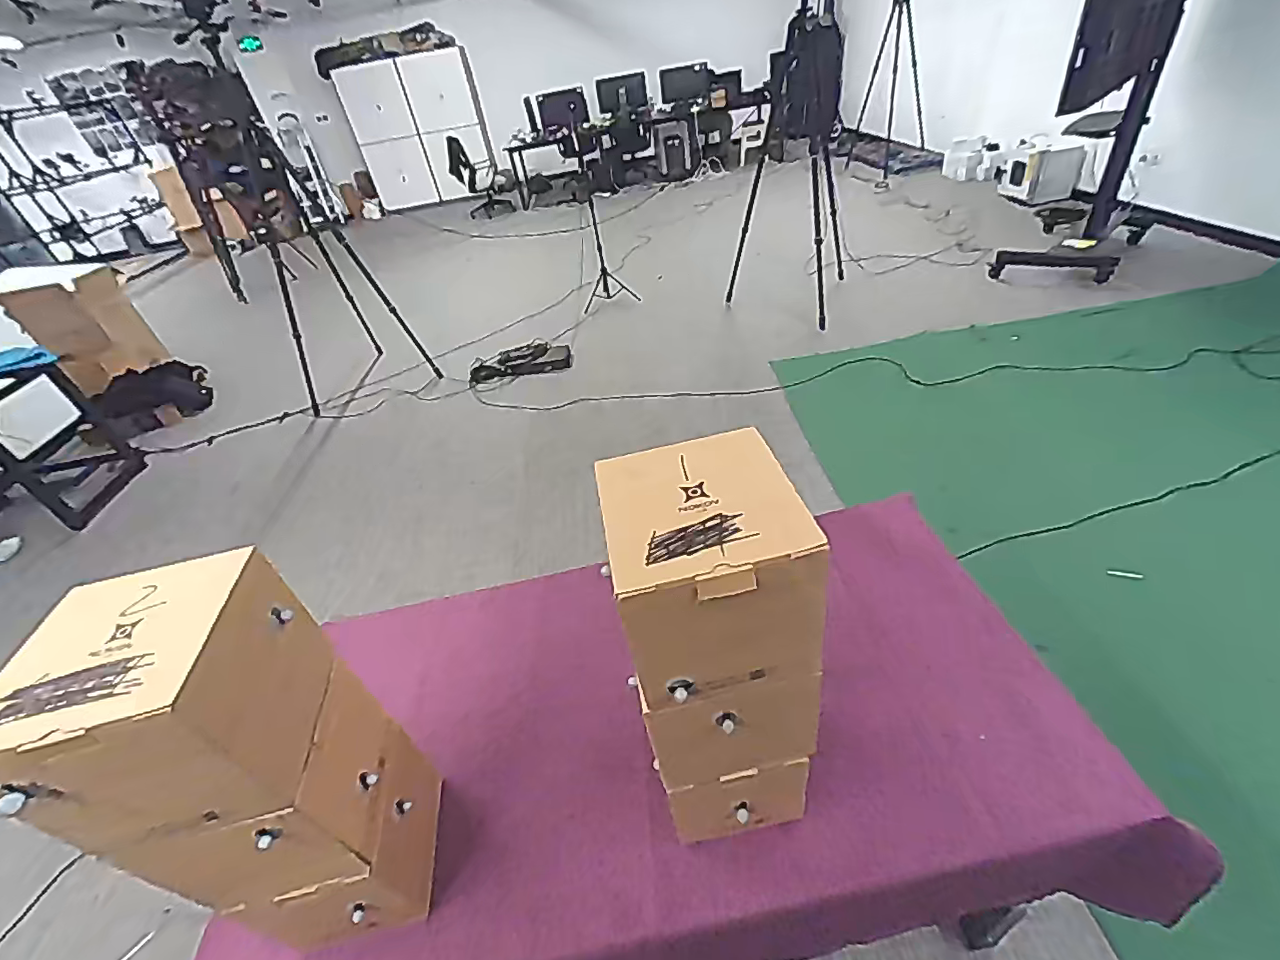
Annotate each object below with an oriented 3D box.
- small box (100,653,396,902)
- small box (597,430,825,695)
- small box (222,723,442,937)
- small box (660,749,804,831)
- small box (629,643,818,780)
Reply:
[{"bbox_3d":[-0.397,0.325,0.591,0.179,0.176,0.168,-13,39,-5],"label":"small box"},{"bbox_3d":[0.062,0.081,0.515,0.168,0.176,0.179,-12,37,-2],"label":"small box"},{"bbox_3d":[-0.369,0.449,0.692,0.168,0.176,0.179,-12,38,-3],"label":"small box"},{"bbox_3d":[0.107,0.338,0.718,0.168,0.176,0.179,-11,39,-1],"label":"small box"},{"bbox_3d":[0.086,0.211,0.614,0.179,0.176,0.168,-12,39,-2],"label":"small box"}]
